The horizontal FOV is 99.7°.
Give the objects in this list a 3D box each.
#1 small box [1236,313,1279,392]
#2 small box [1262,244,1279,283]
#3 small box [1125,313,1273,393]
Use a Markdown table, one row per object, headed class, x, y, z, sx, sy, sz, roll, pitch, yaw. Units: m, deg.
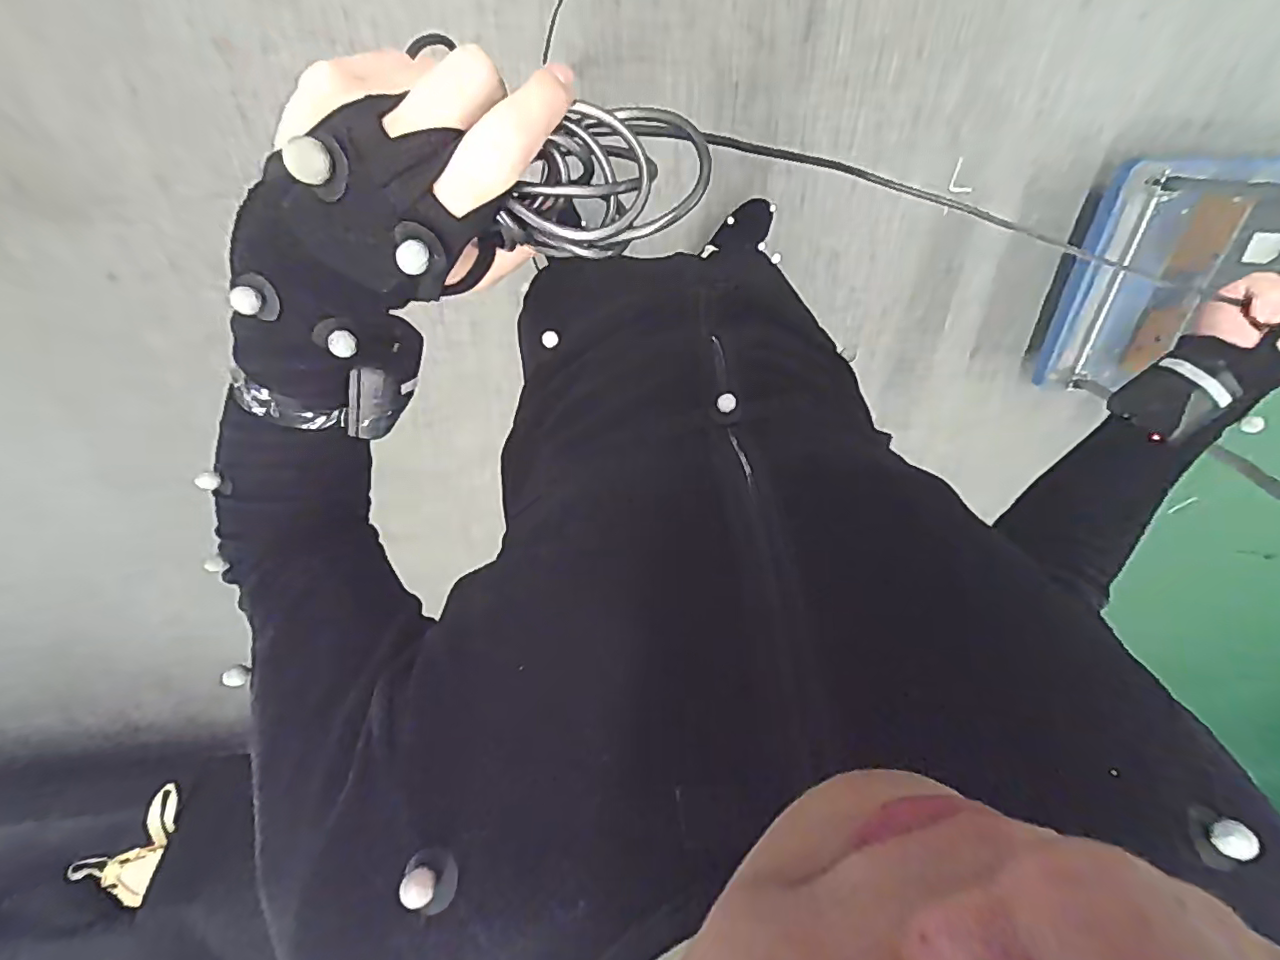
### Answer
| class | x | y | z | sx | sy | sz | roll | pitch | yaw |
| --- | --- | --- | --- | --- | --- | --- | --- | --- | --- |
| small box | 1.729 | -0.348 | 1.449 | 0.179 | 0.176 | 0.168 | -5 | 121 | -2 |
| small box | 1.714 | -0.562 | 1.317 | 0.179 | 0.176 | 0.168 | -5 | 122 | -3 |
| small box | 1.460 | -0.339 | 1.427 | 0.179 | 0.176 | 0.168 | -1 | 121 | -5 |
